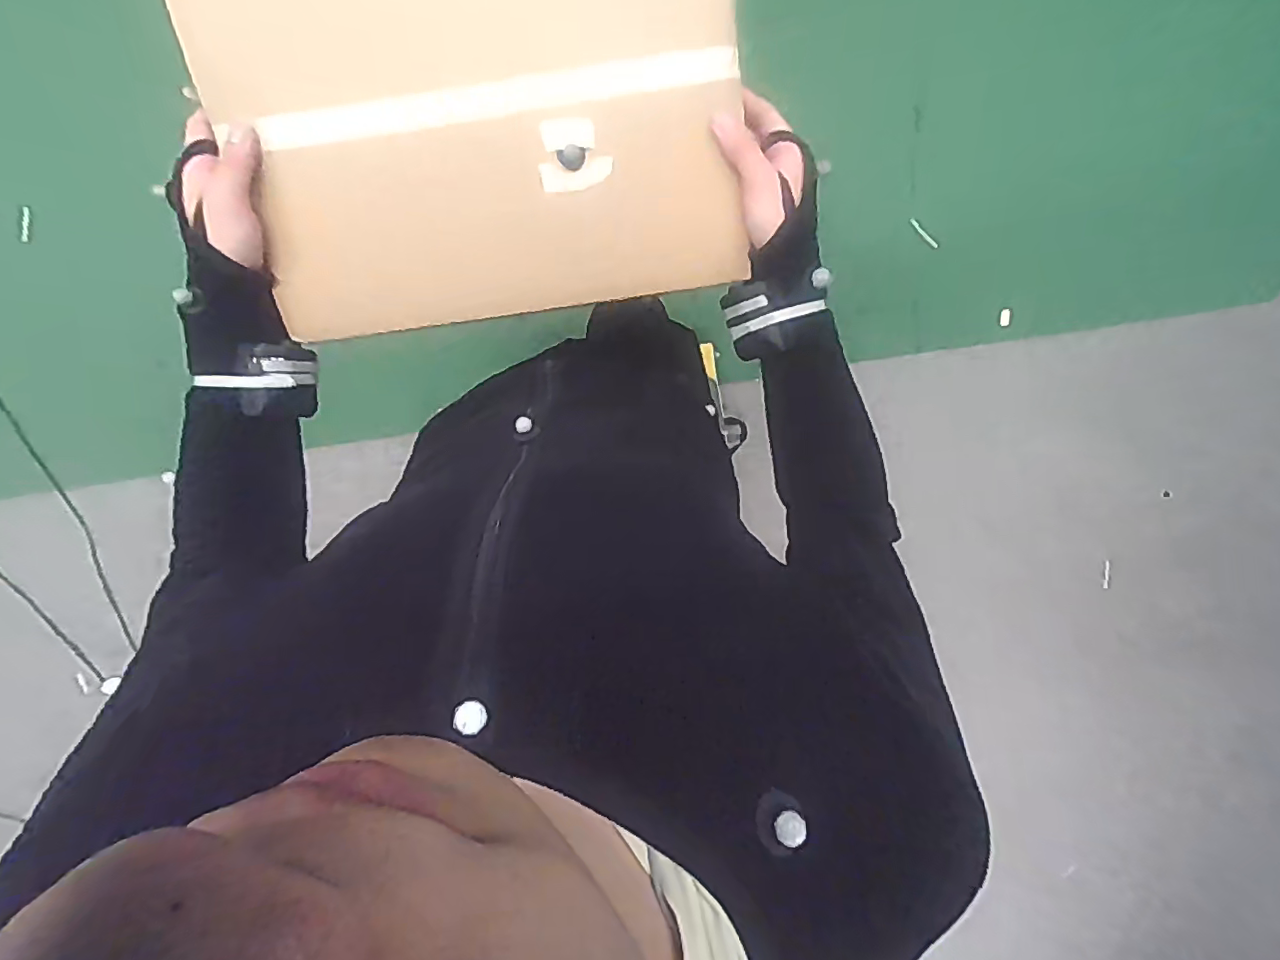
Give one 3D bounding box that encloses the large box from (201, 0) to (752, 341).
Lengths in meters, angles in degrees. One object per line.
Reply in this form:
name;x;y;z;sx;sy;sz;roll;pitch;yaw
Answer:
large box;-0.125;-0.346;0.572;0.408;0.320;0.320;-8;110;0
